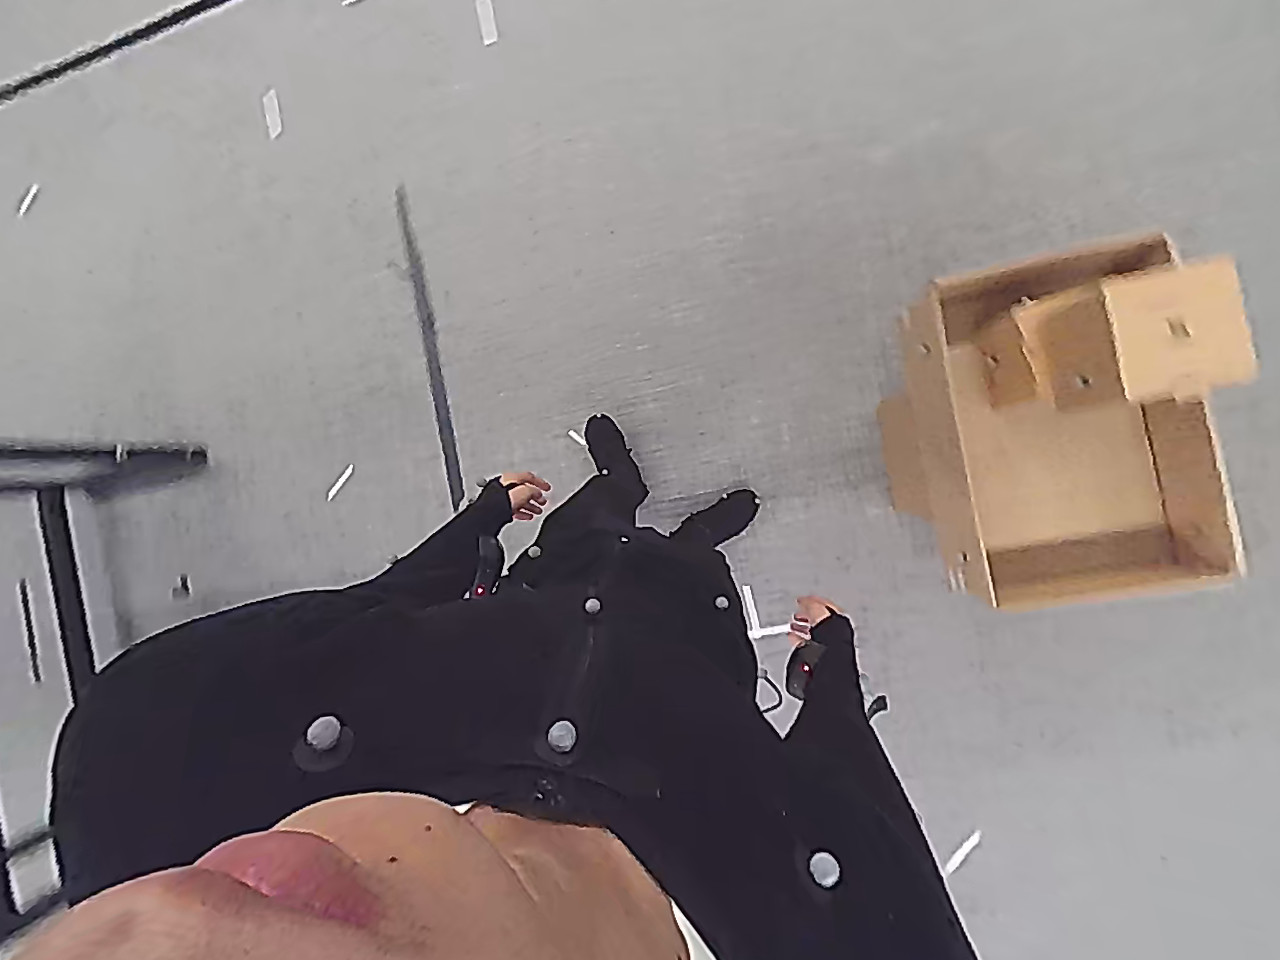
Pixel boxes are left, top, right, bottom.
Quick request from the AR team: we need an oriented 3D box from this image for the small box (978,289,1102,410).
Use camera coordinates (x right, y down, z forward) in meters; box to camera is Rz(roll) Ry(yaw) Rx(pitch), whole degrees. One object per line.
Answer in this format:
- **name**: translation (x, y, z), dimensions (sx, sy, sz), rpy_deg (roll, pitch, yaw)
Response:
- **small box**: translation (0.767, -0.234, 0.994), dimensions (0.179, 0.176, 0.168), rpy_deg (-15, 88, 10)

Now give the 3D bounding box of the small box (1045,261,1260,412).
- **small box**: translation (0.766, -0.205, 0.829), dimensions (0.168, 0.176, 0.179), rpy_deg (-10, 89, 9)
